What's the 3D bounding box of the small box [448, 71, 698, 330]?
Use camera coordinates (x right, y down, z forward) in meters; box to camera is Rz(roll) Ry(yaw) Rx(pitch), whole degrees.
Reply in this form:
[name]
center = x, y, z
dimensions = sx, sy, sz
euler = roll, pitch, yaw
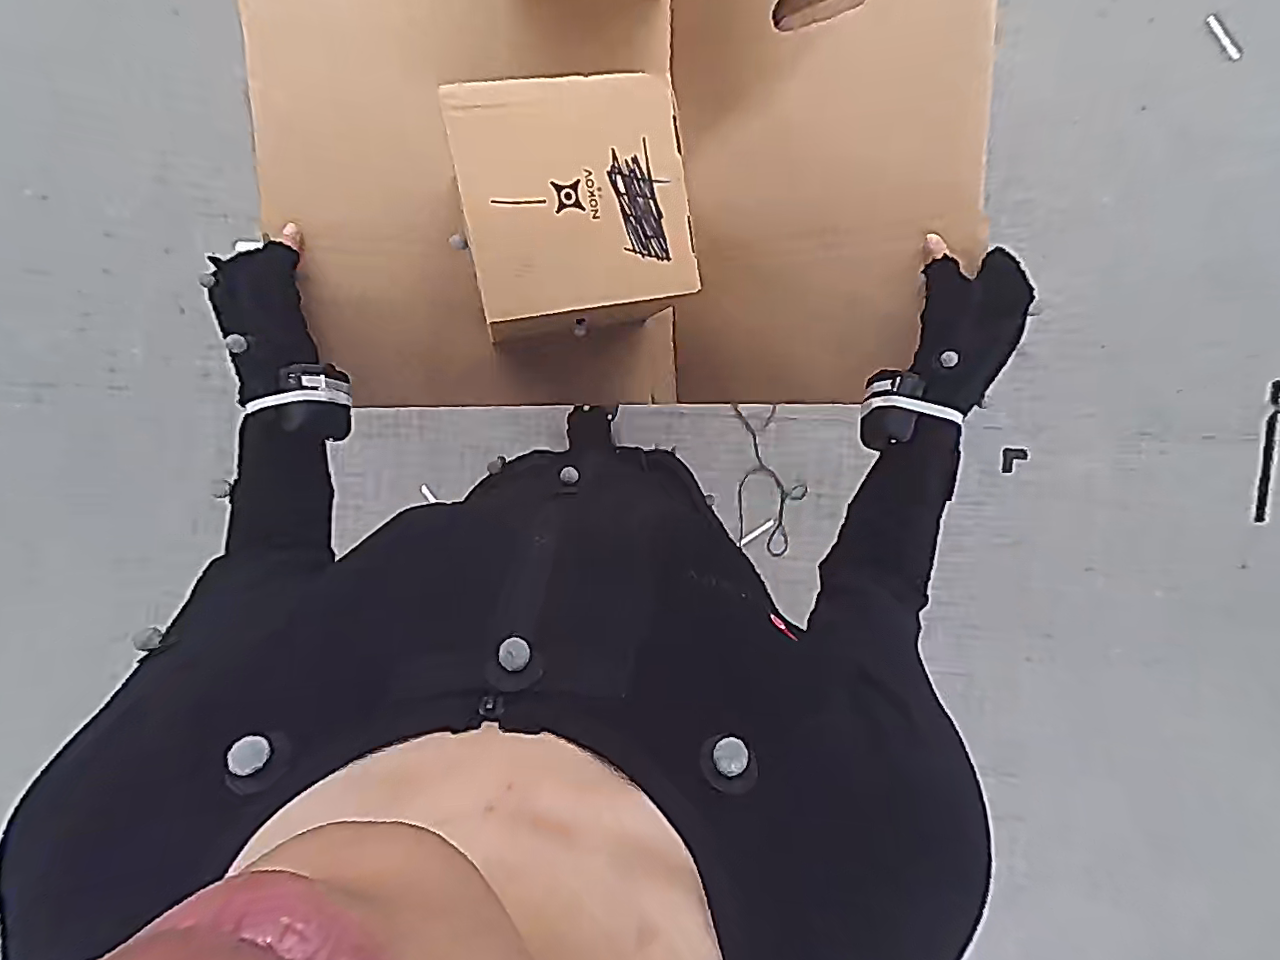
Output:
[small box]
center = -0.065, -0.239, 0.498
dimensions = 0.179, 0.176, 0.168
euler = -12, 101, -12
